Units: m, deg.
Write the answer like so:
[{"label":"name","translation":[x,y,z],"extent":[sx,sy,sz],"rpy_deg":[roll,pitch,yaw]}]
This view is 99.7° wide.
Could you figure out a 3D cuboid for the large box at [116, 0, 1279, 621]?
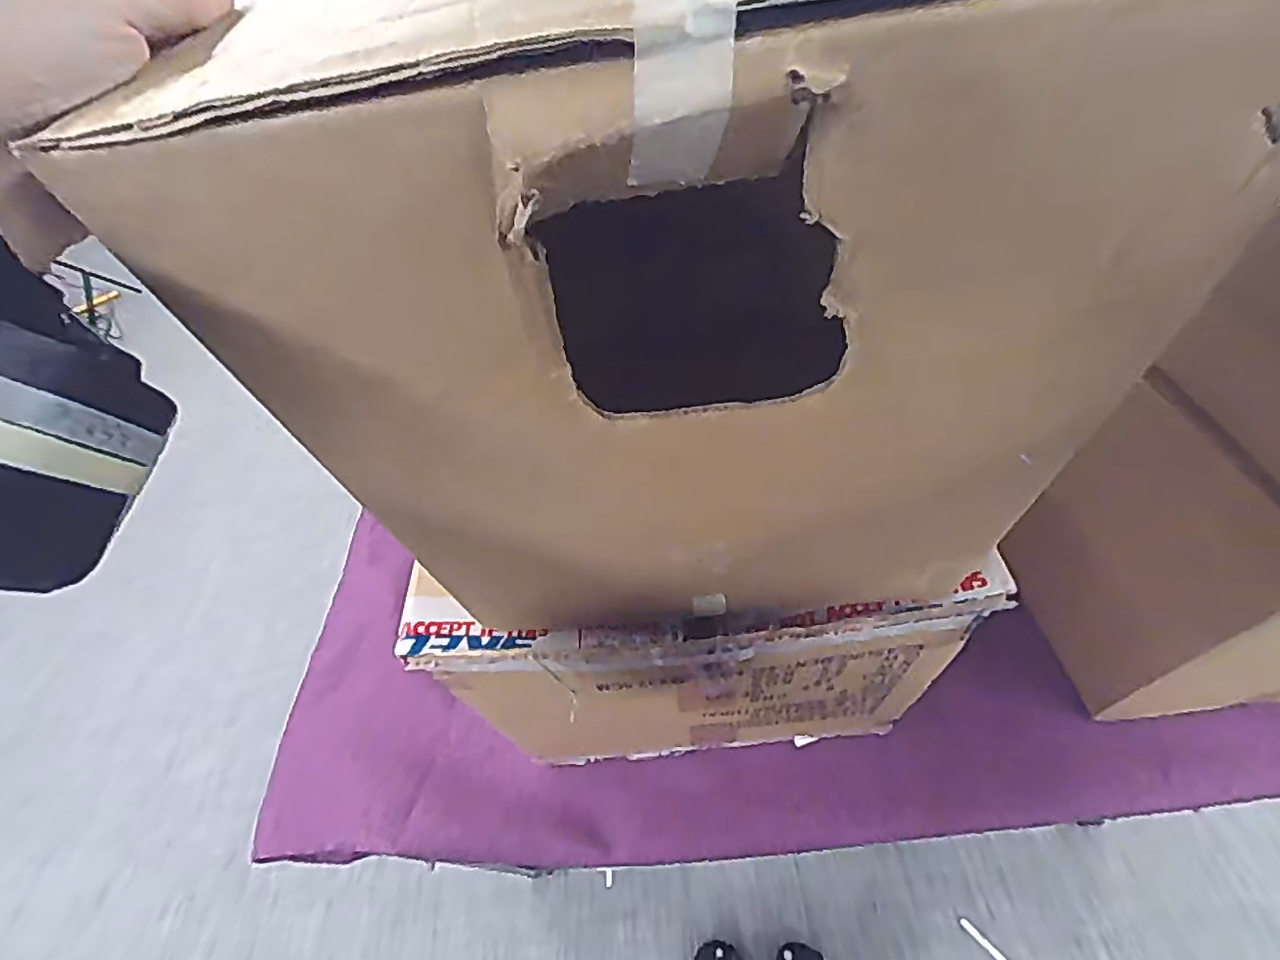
[{"label":"large box","translation":[0.029,-0.163,0.353],"extent":[0.320,0.320,0.408],"rpy_deg":[-7,54,5]}]
